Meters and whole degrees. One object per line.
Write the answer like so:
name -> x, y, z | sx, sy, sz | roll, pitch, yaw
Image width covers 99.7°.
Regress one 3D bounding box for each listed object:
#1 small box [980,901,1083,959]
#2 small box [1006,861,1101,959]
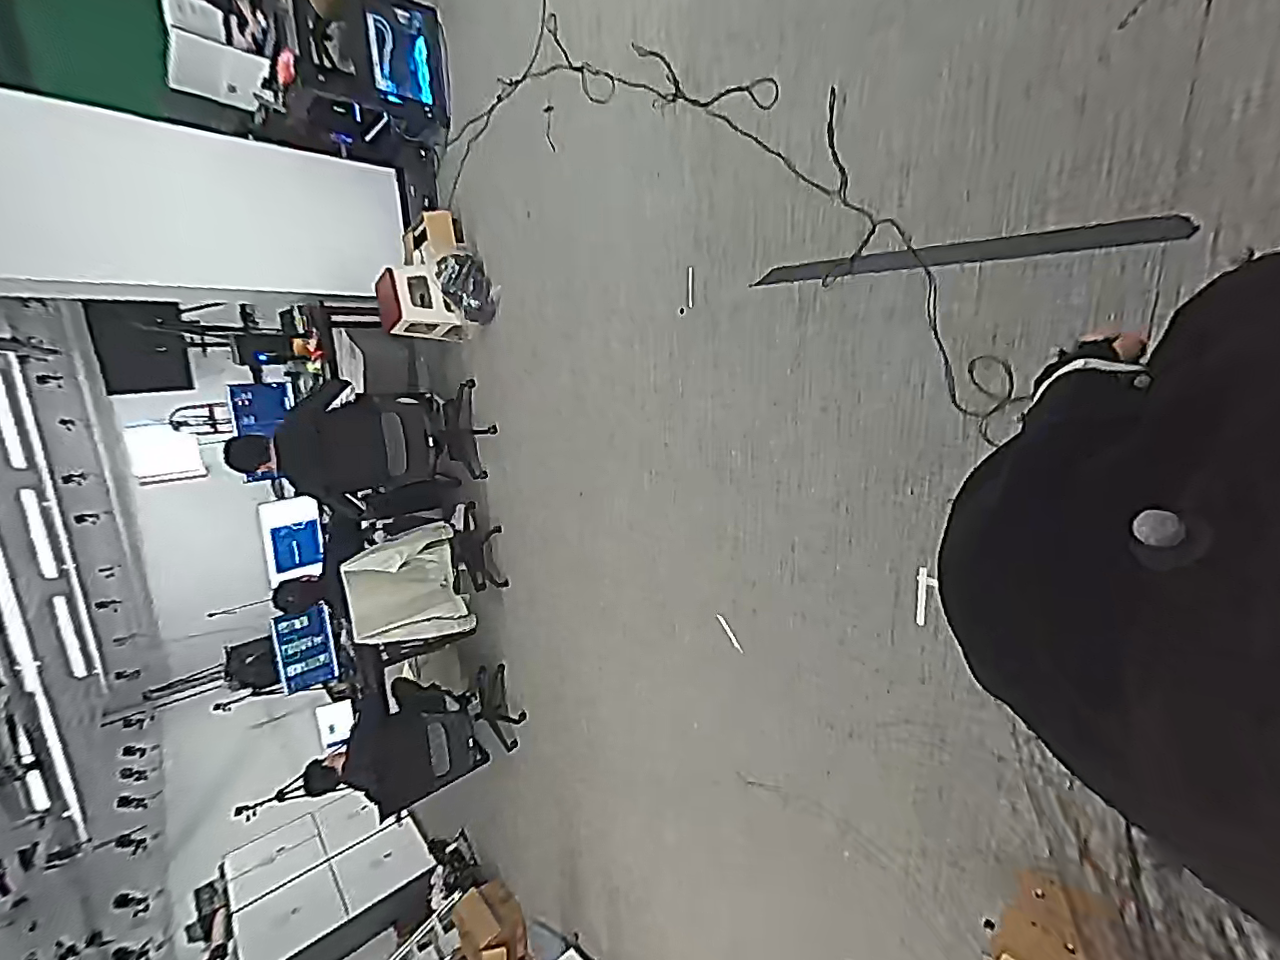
small box -> 0.908, 1.147, 1.258 | 0.168, 0.176, 0.179 | 9, 107, 48
small box -> 1.035, 1.119, 1.360 | 0.168, 0.176, 0.179 | 8, 107, 49
